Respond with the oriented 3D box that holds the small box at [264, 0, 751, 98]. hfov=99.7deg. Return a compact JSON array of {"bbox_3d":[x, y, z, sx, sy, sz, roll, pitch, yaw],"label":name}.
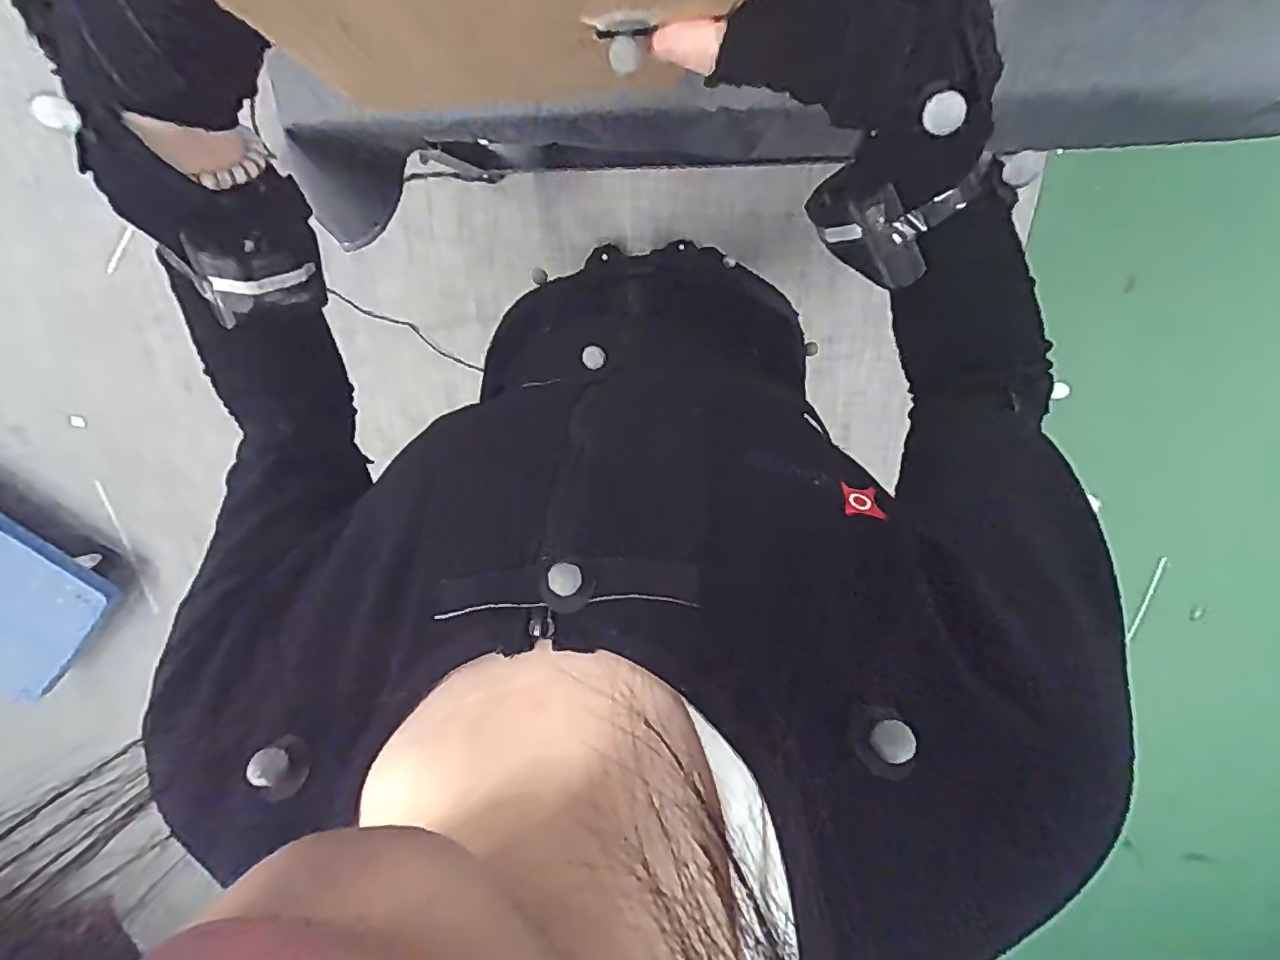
[{"bbox_3d":[-0.052,-0.247,0.180,0.176,0.179,0.168,-7,114,-4],"label":"small box"}]
